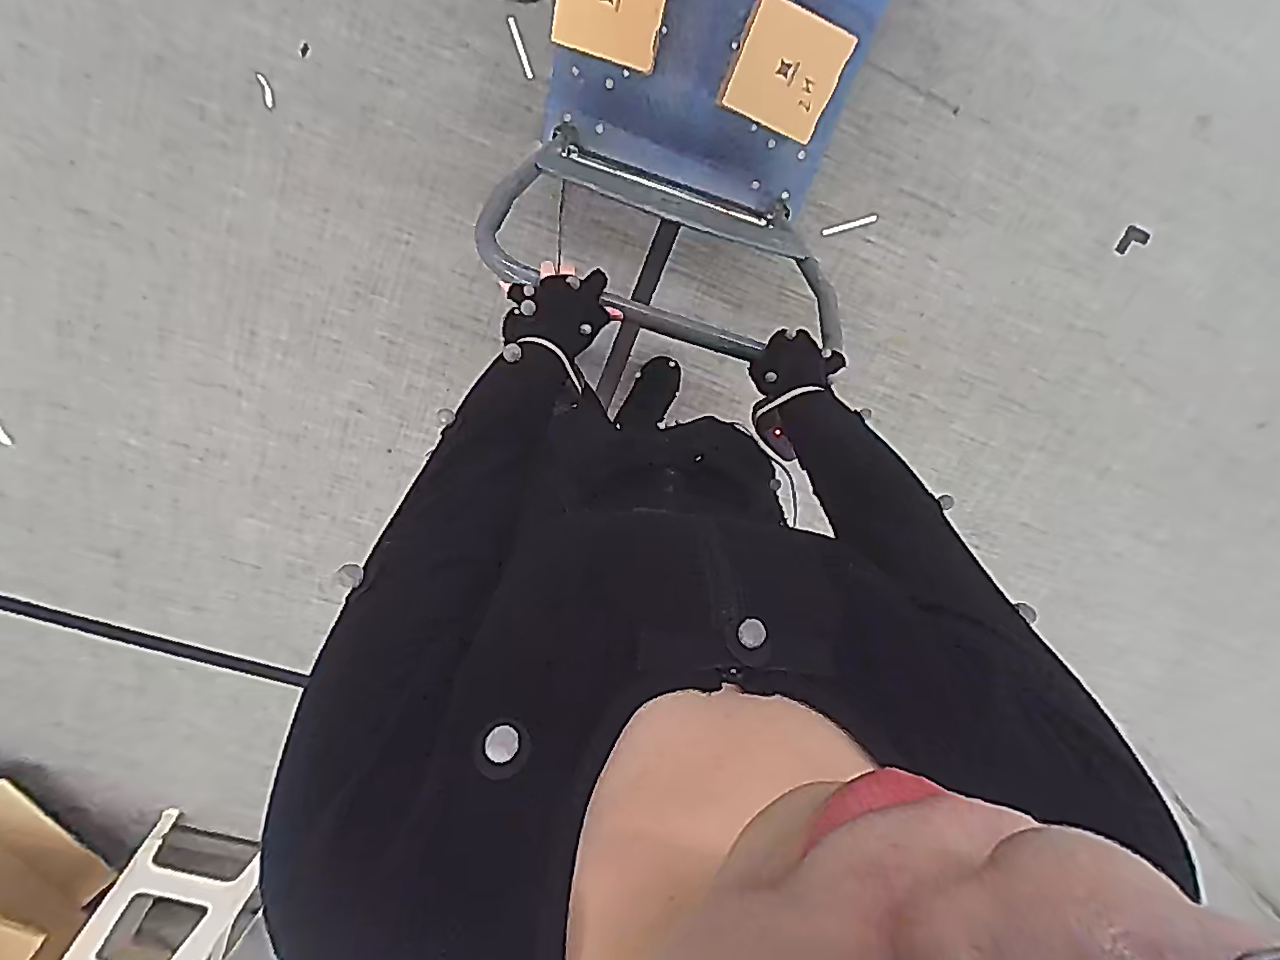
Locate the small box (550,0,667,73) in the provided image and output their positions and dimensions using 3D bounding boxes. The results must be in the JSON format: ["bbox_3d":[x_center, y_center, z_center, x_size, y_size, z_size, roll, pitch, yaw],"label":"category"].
[{"bbox_3d":[-0.046,-0.831,0.942,0.179,0.176,0.168,12,125,-8],"label":"small box"}]

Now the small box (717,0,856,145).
[{"bbox_3d":[0.254,-0.742,0.991,0.179,0.176,0.168,19,124,-11],"label":"small box"}]
